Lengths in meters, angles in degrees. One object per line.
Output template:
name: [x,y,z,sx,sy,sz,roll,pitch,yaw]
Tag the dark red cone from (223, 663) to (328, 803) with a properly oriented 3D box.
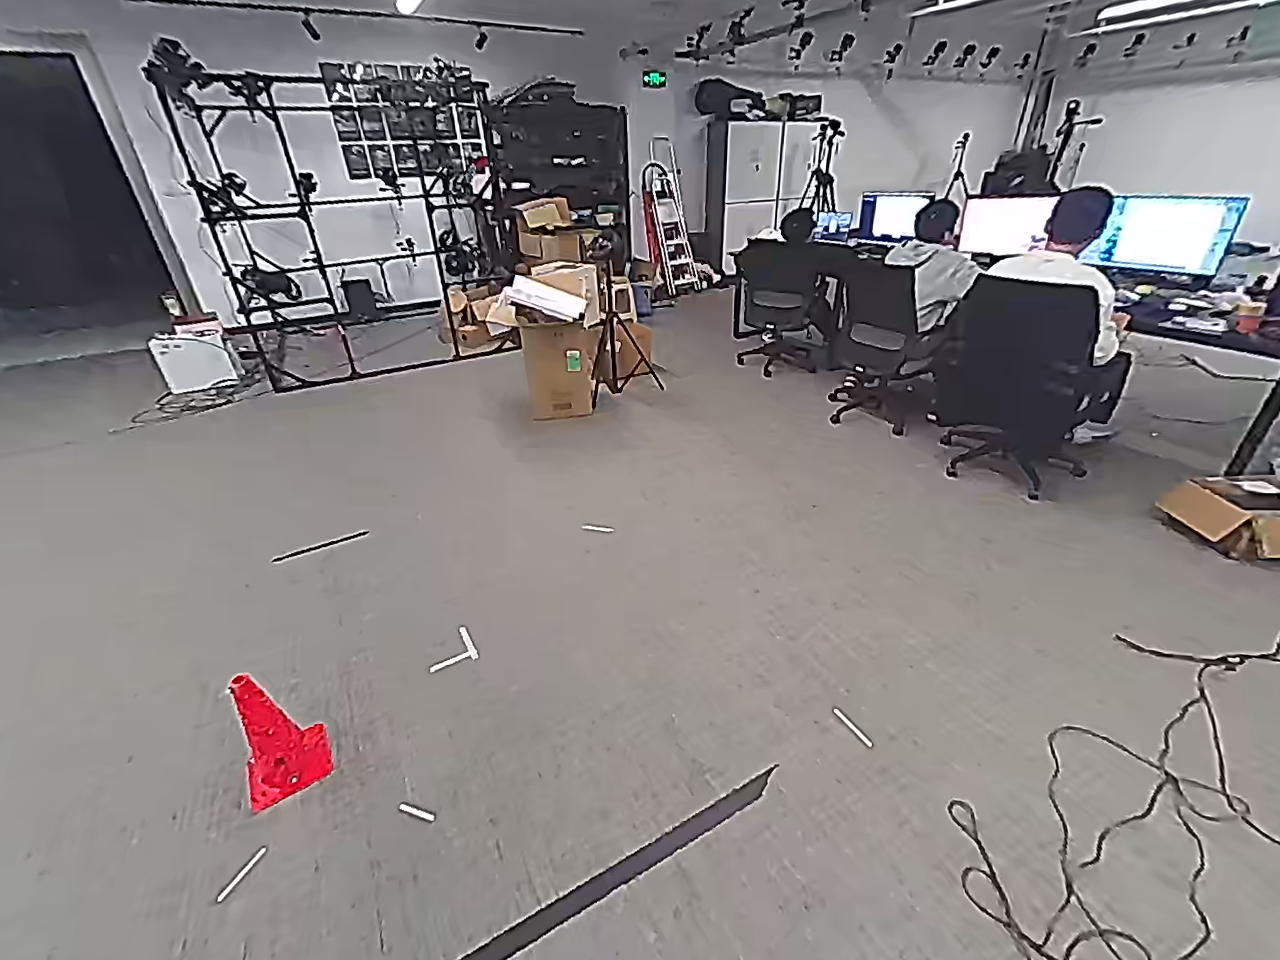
dark red cone: [-0.993,0.629,1.415,0.202,0.394,0.201,-22,36,-30]
